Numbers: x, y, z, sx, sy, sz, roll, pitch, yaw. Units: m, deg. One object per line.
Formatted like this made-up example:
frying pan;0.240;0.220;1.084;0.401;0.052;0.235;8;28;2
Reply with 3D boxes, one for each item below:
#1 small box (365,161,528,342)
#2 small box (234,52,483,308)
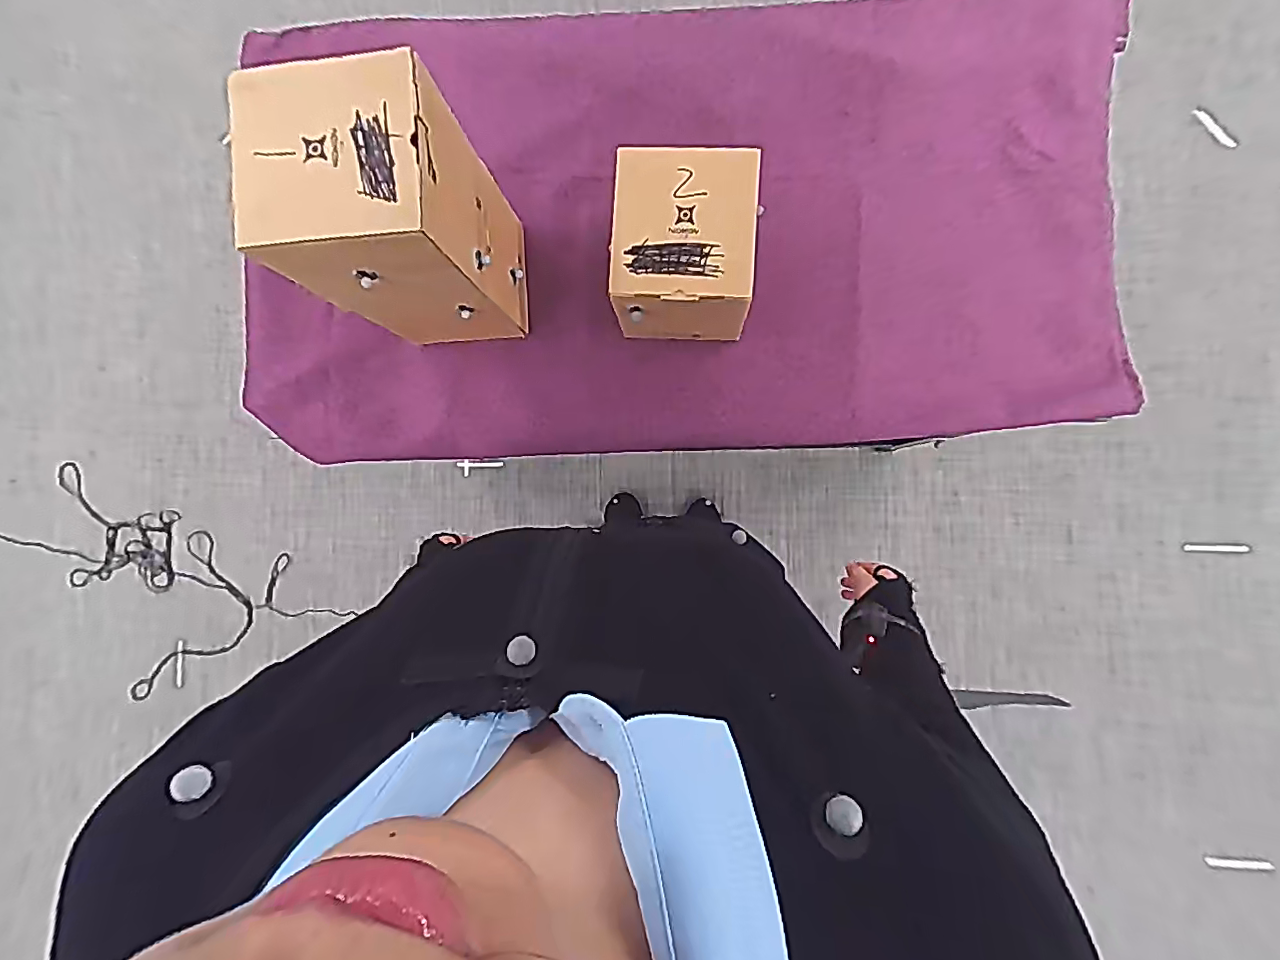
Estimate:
small box;-0.261;-0.291;0.724;0.179;0.176;0.168;-4;88;4
small box;-0.271;-0.290;0.560;0.179;0.176;0.168;-4;88;4
